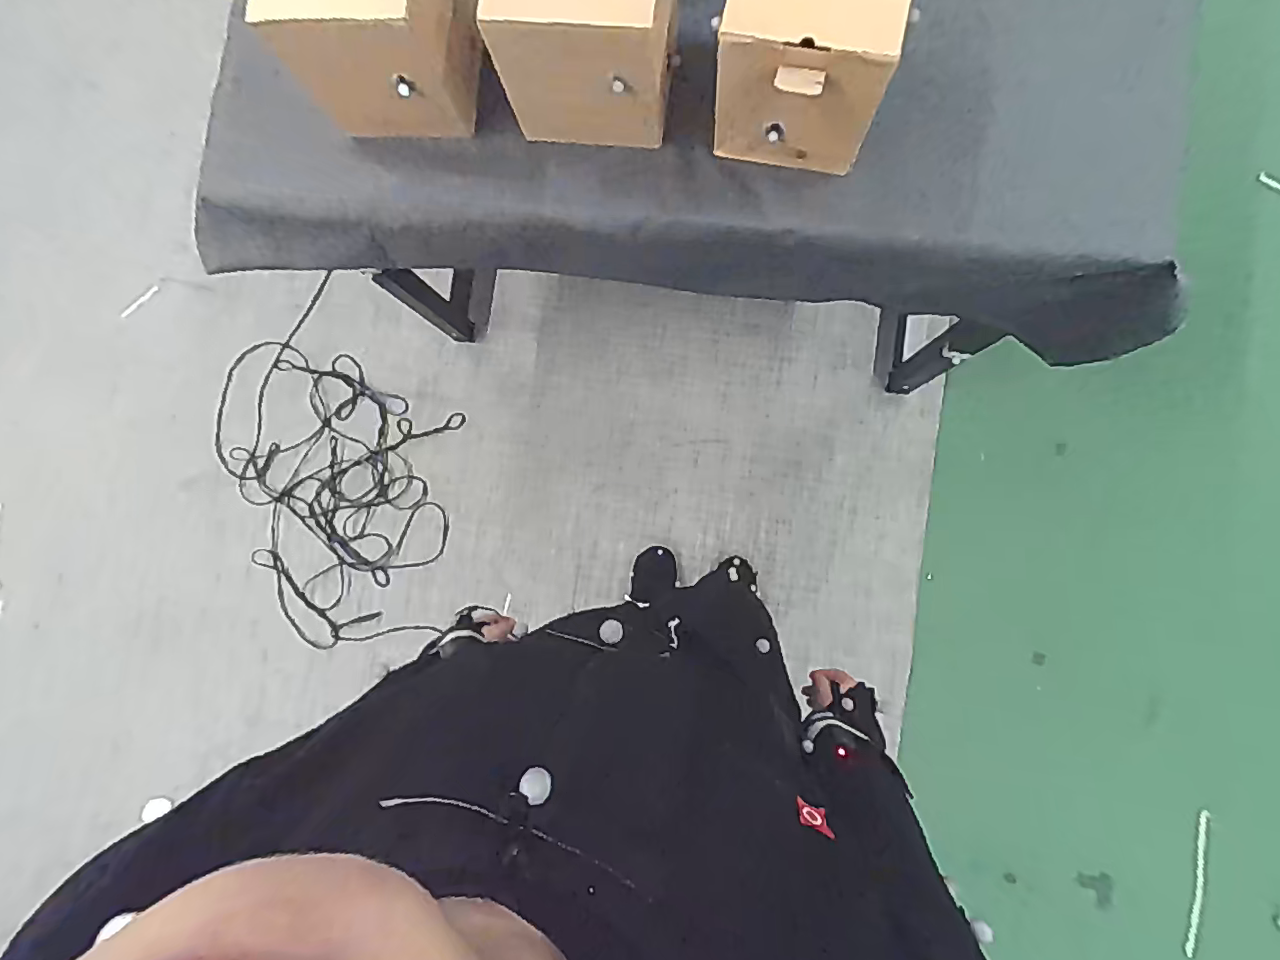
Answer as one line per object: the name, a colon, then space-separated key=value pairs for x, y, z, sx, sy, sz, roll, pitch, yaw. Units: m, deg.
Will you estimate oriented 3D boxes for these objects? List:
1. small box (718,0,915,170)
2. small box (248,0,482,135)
small box: x=0.181 y=-0.474 z=0.574 sx=0.168 sy=0.176 sz=0.179 roll=12 pitch=88 yaw=6
small box: x=-0.298 y=-0.531 z=0.623 sx=0.179 sy=0.176 sz=0.168 roll=3 pitch=85 yaw=6
